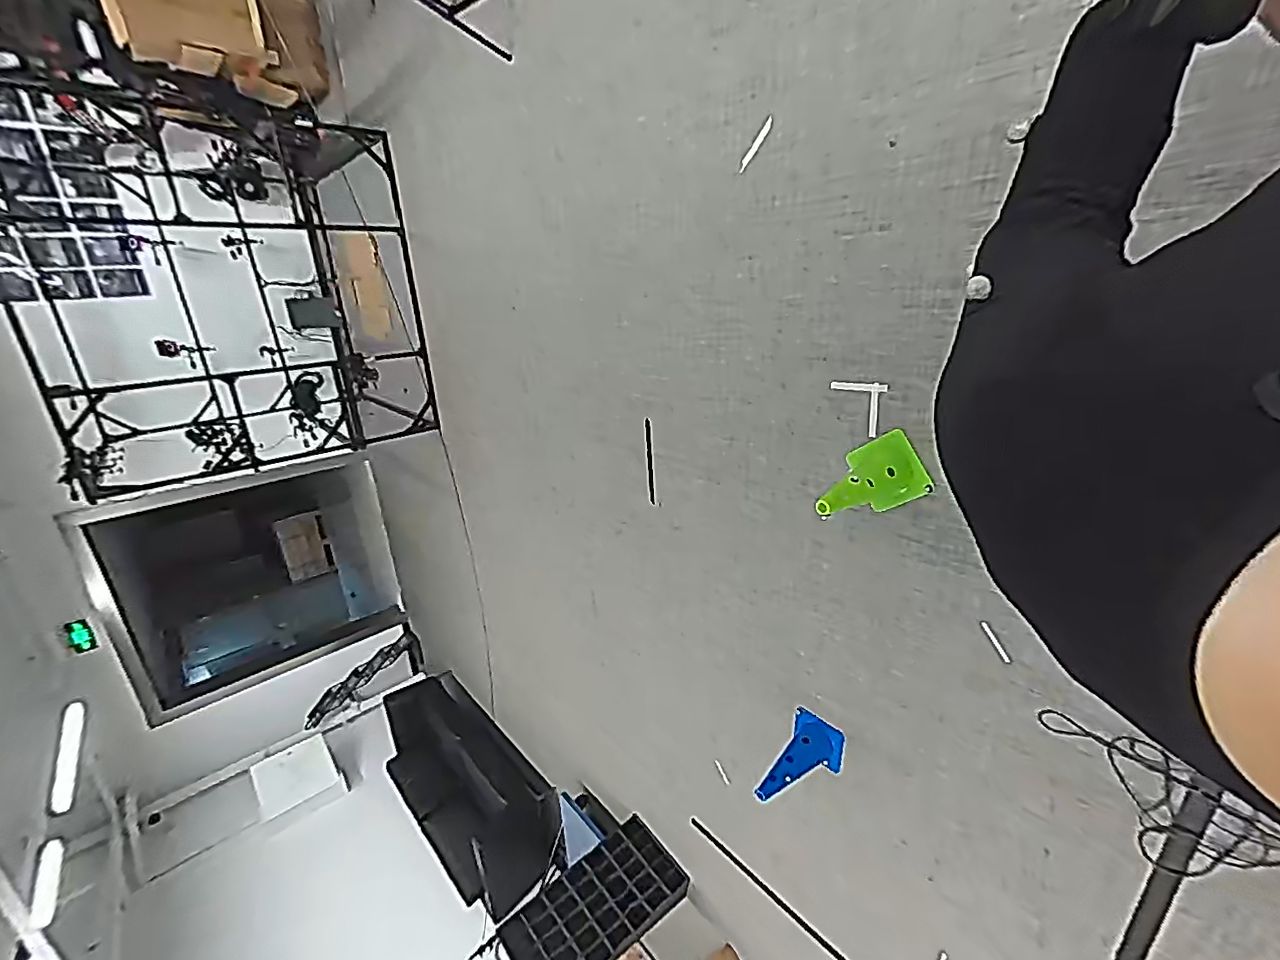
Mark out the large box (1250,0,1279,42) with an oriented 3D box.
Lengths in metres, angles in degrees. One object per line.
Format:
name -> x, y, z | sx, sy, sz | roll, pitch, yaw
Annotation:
large box -> 0.588, -0.439, 0.215 | 0.408, 0.320, 0.320 | 23, 127, 44

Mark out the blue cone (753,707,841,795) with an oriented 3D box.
blue cone -> 0.554, 1.027, 1.972 | 0.192, 0.380, 0.193 | 24, 123, 45

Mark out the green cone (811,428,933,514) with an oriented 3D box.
green cone -> 0.587, 0.016, 1.465 | 0.202, 0.368, 0.200 | -39, 74, 53
